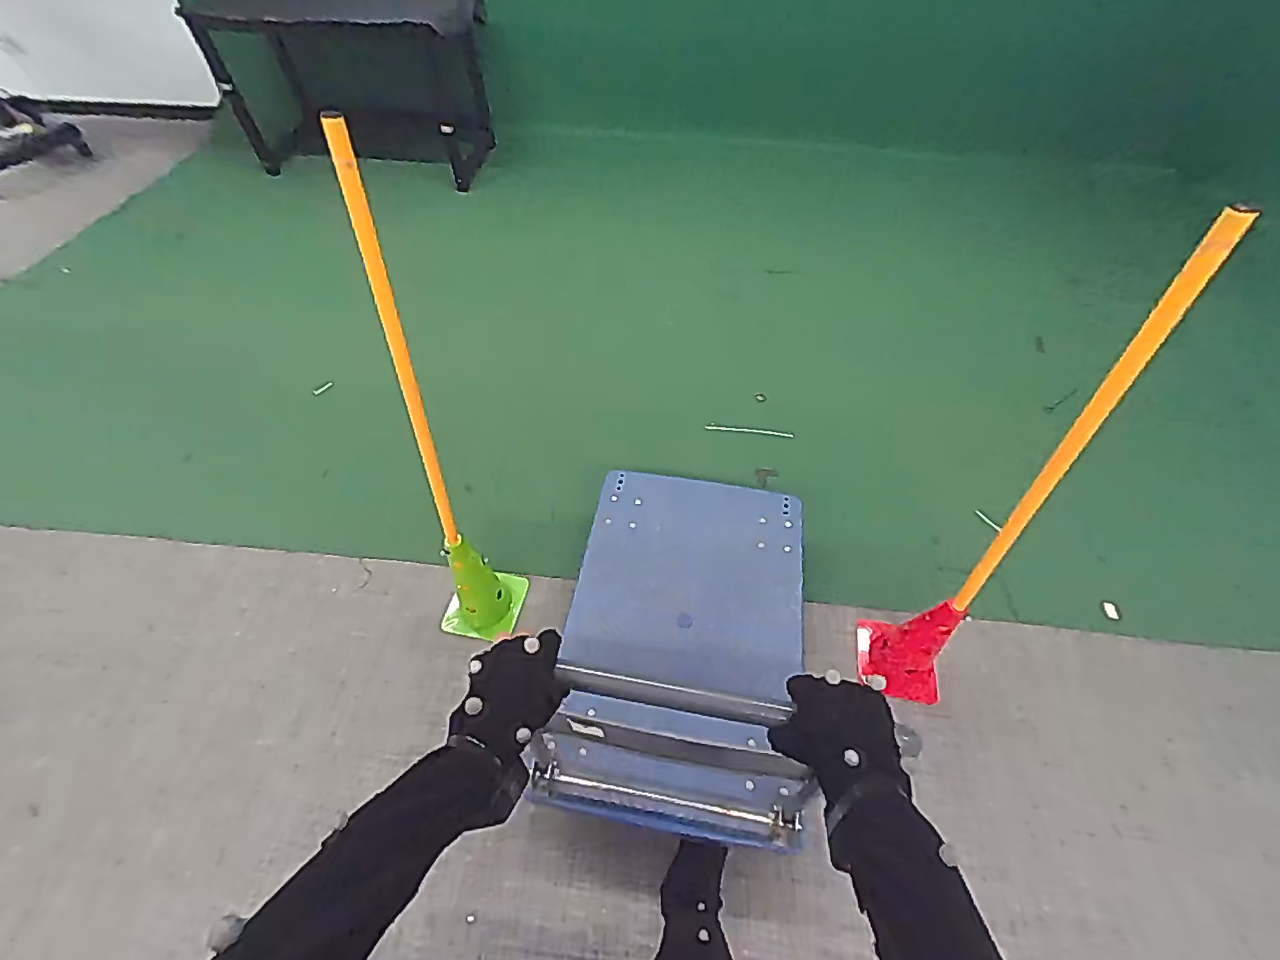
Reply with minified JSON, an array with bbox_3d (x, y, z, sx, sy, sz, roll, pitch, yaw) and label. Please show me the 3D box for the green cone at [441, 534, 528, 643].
[{"bbox_3d":[-0.440,0.250,1.410,0.202,0.368,0.200,9,52,7],"label":"green cone"}]
